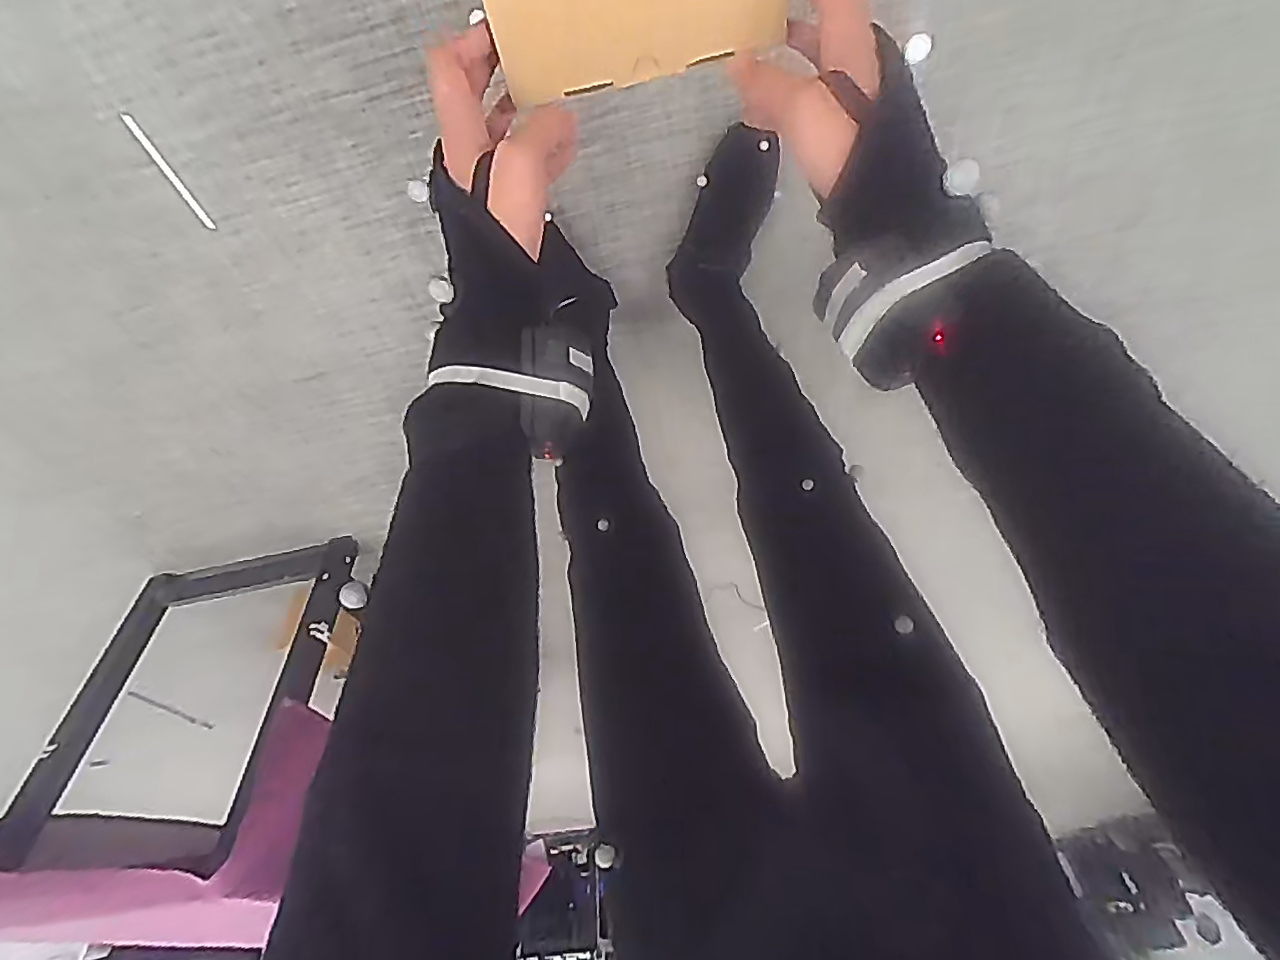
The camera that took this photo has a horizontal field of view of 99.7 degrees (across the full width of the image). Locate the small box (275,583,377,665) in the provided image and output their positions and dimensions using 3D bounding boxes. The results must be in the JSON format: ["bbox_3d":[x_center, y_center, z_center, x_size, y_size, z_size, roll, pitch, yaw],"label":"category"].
[{"bbox_3d":[-0.892,0.408,1.555,0.168,0.176,0.179,-10,139,5],"label":"small box"}]

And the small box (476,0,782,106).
[{"bbox_3d":[-0.022,-0.350,0.305,0.168,0.176,0.179,-11,138,3],"label":"small box"}]
